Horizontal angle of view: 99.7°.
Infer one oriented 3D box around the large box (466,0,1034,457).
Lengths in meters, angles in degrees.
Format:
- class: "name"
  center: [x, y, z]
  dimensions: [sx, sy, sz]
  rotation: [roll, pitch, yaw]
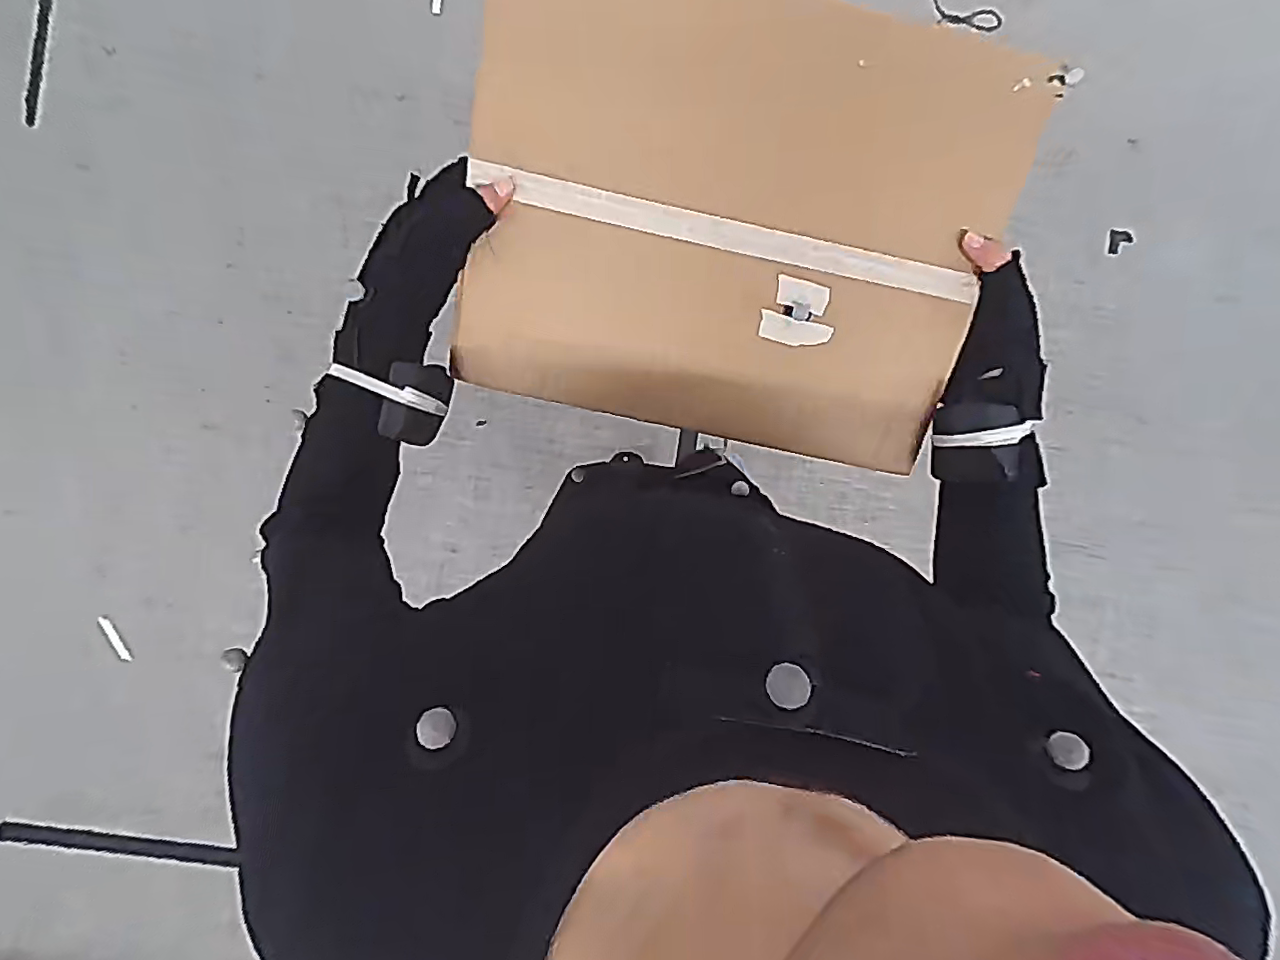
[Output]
- class: "large box"
  center: [0.068, -0.245, 0.575]
  dimensions: [0.408, 0.320, 0.320]
  rotation: [12, 109, -4]
